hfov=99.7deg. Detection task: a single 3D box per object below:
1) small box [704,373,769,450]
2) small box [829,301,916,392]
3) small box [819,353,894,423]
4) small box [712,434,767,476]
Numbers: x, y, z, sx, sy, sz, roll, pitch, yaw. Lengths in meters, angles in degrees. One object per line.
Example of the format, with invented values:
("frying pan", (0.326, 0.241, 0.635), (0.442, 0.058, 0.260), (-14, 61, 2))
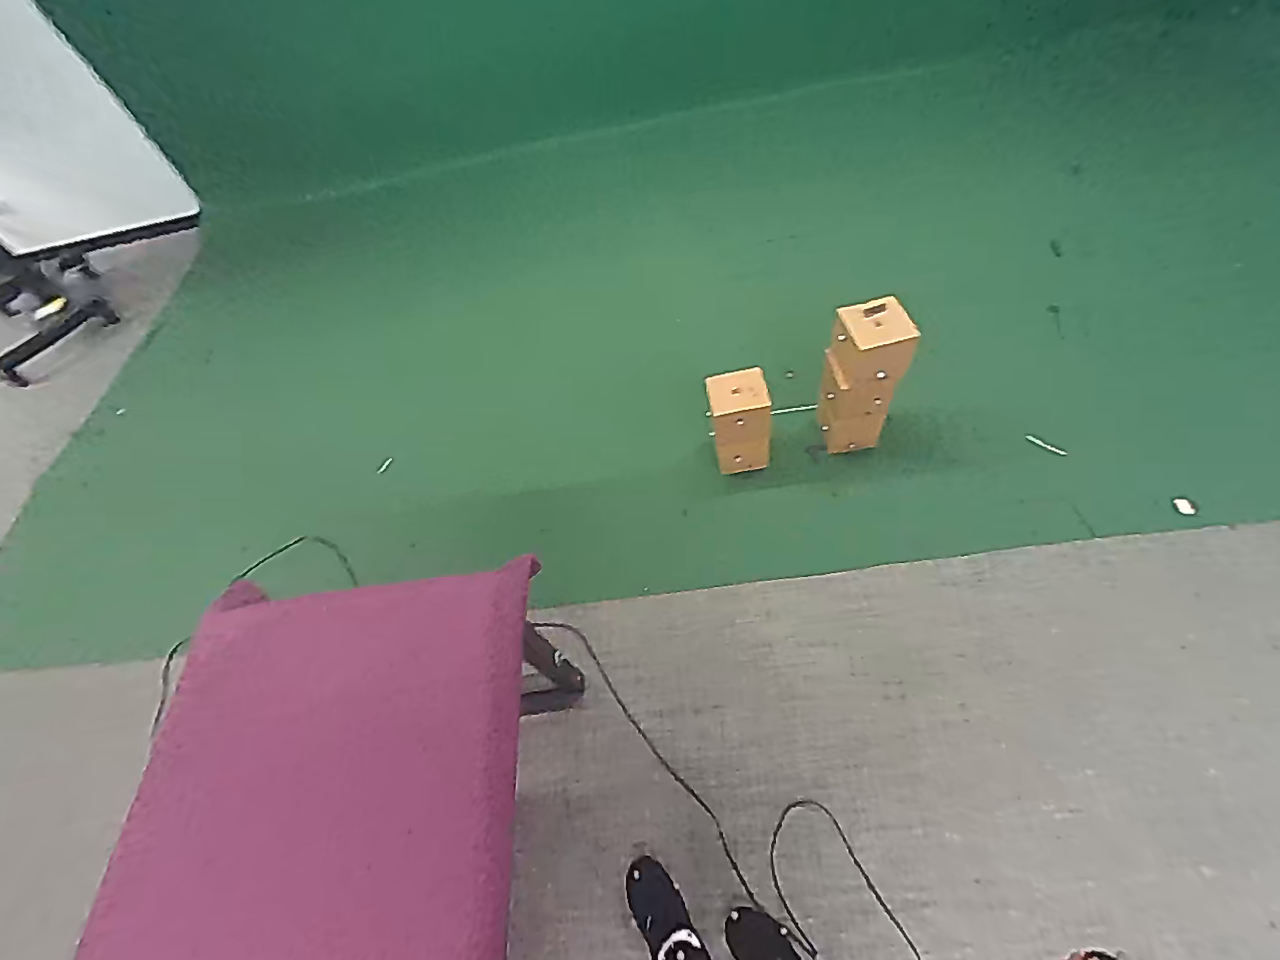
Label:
("small box", (0.312, -0.214, 1.738), (0.179, 0.176, 0.168), (-10, 55, 5))
("small box", (0.668, -0.387, 1.579), (0.168, 0.176, 0.179), (-14, 57, 2))
("small box", (0.680, -0.296, 1.715), (0.168, 0.176, 0.179), (-9, 56, 4))
("small box", (0.343, -0.127, 1.875), (0.168, 0.176, 0.179), (-10, 54, 6))
